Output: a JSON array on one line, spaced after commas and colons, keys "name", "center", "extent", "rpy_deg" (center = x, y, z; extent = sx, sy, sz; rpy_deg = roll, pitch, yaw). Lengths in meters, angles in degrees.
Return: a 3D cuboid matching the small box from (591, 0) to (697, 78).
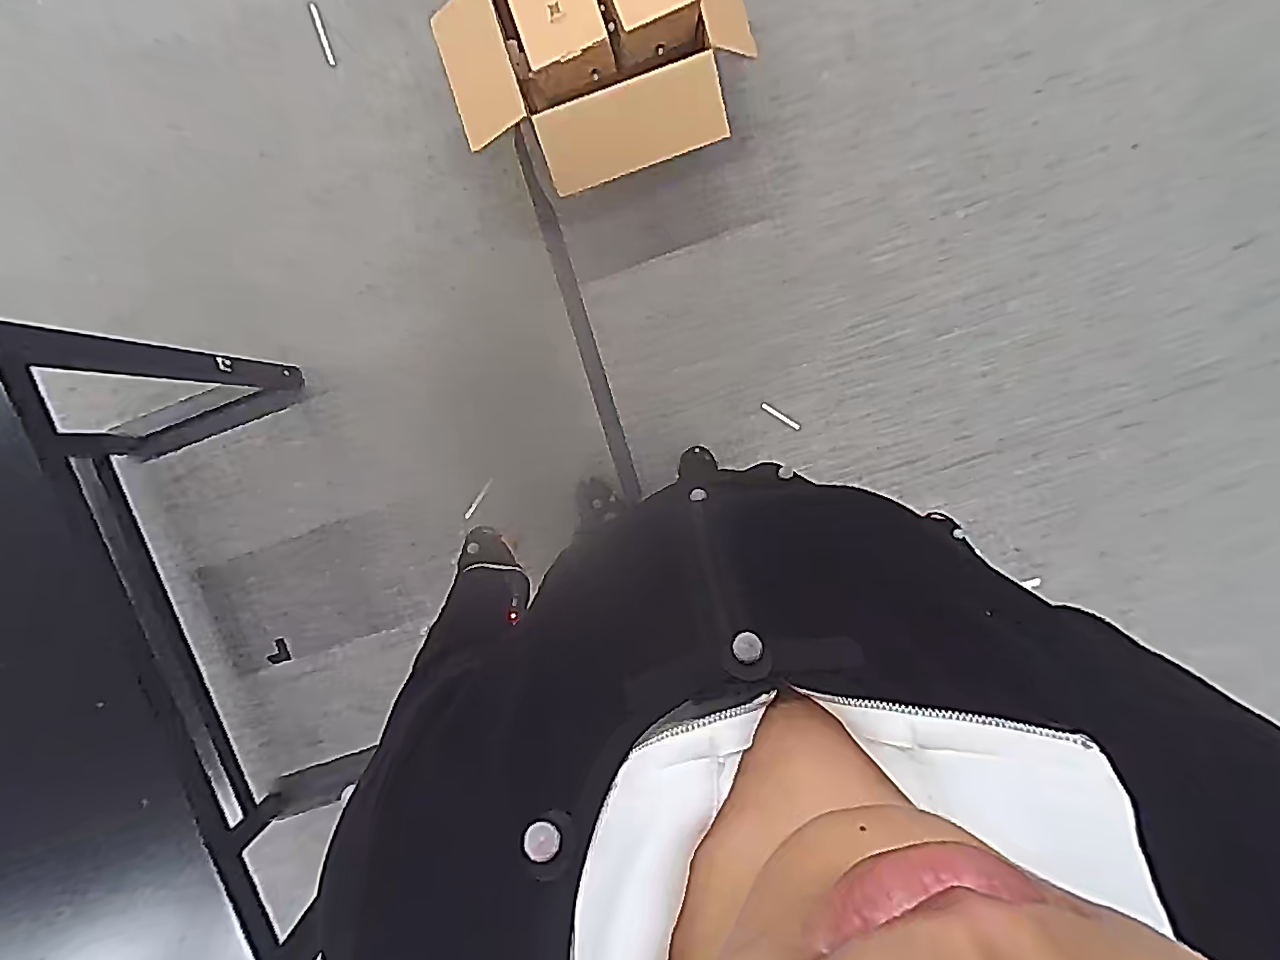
[{"name": "small box", "center": [0.003, -0.987, 1.126], "extent": [0.168, 0.176, 0.179], "rpy_deg": [-25, 95, 0]}]
